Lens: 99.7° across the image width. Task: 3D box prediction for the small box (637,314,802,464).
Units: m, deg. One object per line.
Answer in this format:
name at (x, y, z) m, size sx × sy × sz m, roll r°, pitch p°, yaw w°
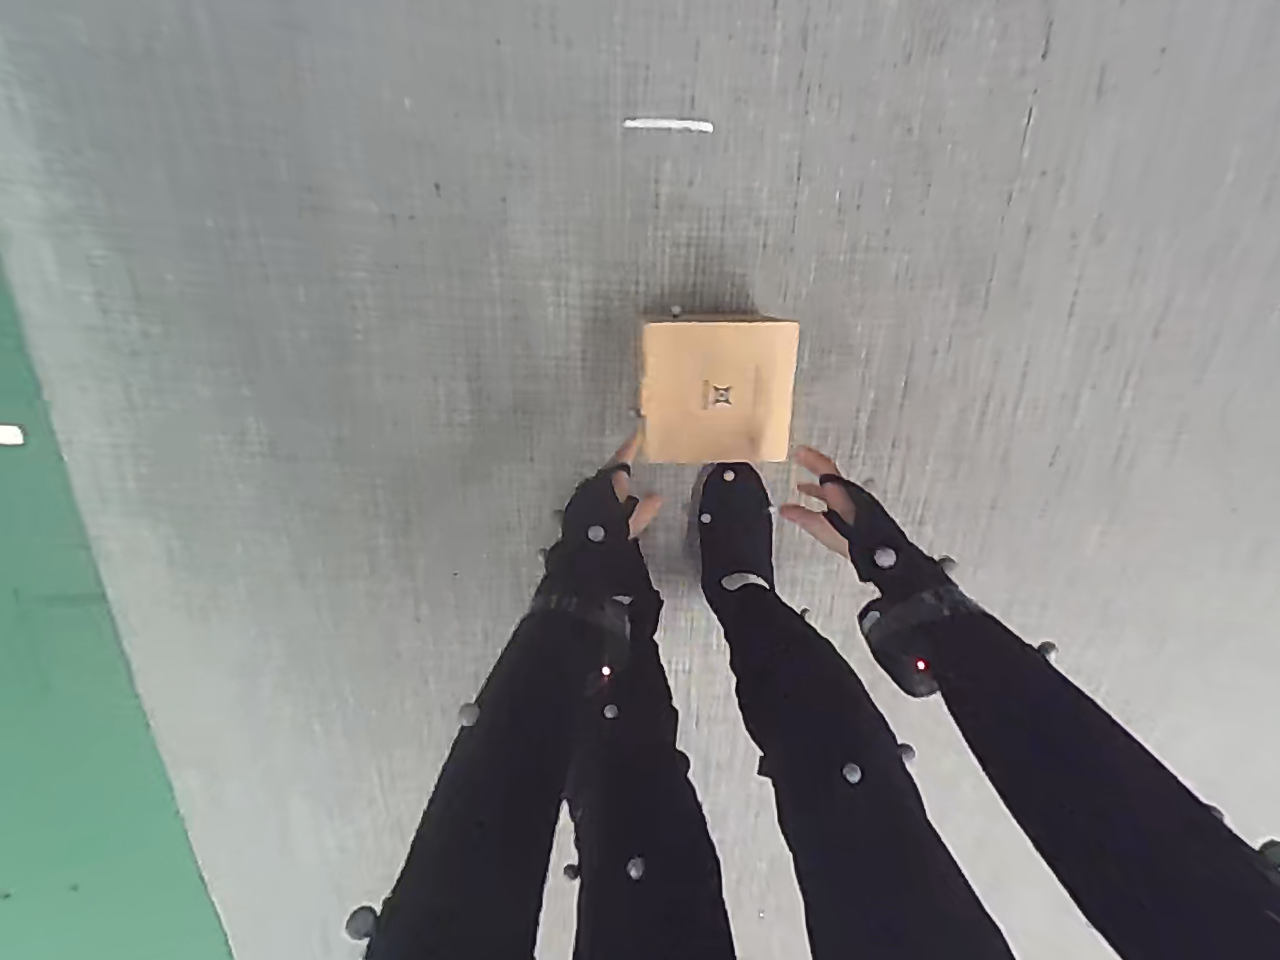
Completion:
small box at (0.088, -0.123, 0.696) m, size 0.179 × 0.176 × 0.168 m, roll -1°, pitch 110°, yaw -4°
